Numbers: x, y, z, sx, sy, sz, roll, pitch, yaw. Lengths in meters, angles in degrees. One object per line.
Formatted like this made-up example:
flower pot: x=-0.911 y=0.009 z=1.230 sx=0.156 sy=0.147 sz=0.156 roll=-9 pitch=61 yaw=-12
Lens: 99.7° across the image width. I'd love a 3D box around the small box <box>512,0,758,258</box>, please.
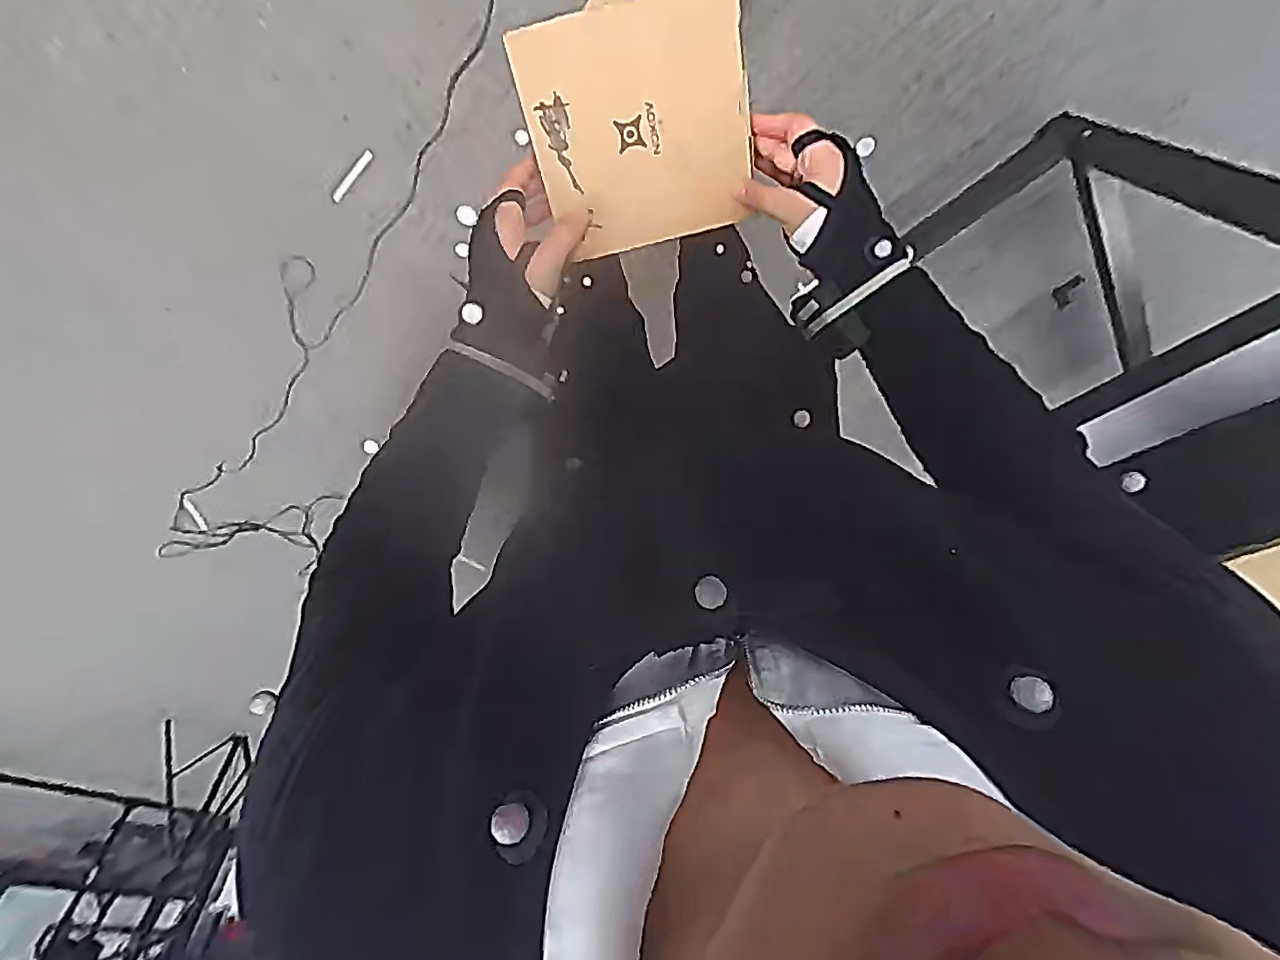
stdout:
small box: x=-0.002 y=-0.327 z=0.507 sx=0.179 sy=0.176 sz=0.168 roll=-13 pitch=122 yaw=5
